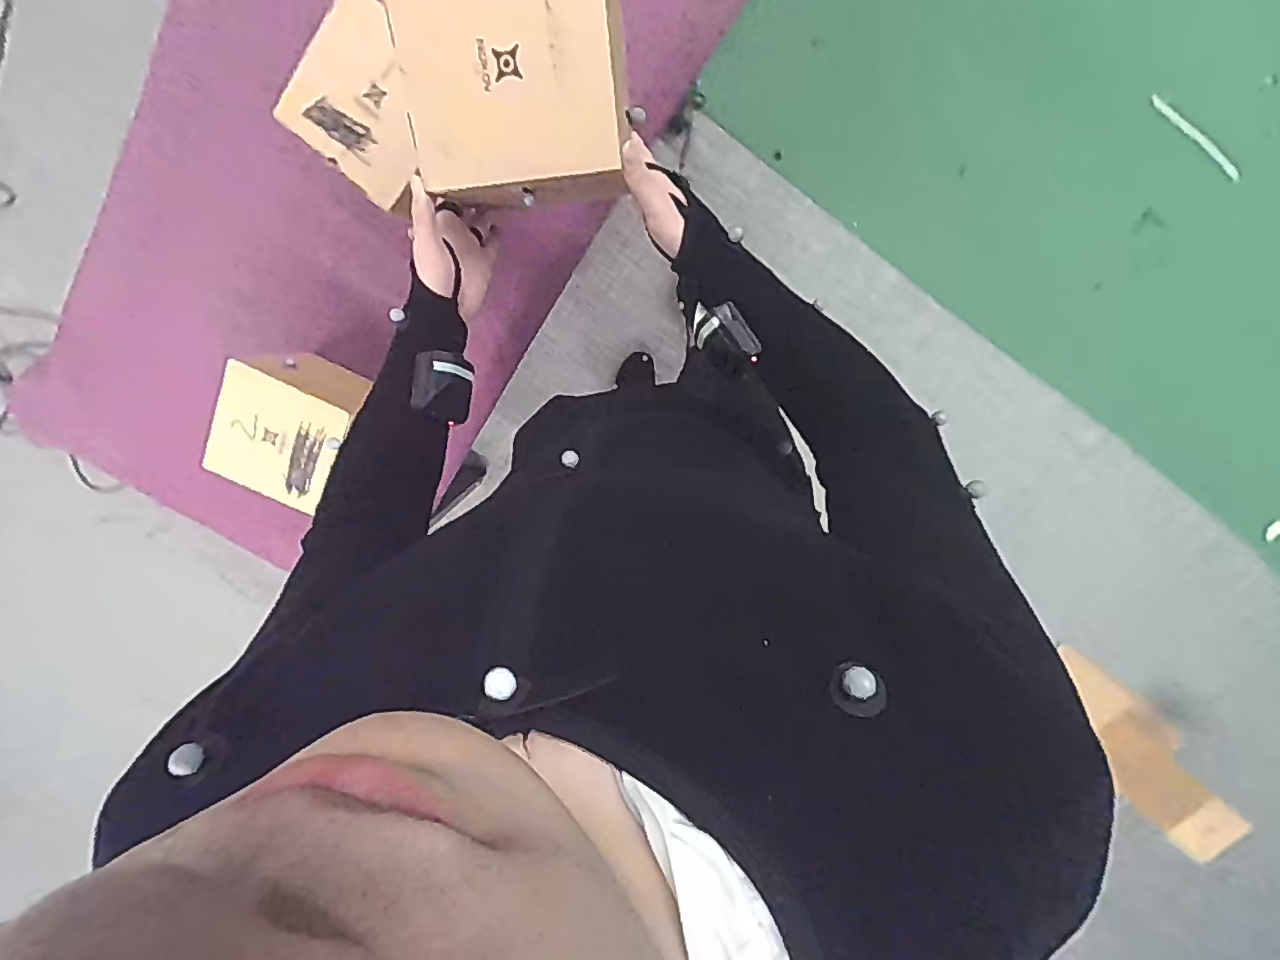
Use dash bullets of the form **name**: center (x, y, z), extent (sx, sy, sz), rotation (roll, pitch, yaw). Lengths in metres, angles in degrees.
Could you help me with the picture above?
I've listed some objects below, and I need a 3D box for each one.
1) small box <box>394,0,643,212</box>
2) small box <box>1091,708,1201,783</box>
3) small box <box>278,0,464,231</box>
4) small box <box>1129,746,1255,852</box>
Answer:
- **small box**: center (-0.095, -0.353, 0.504), extent (0.179, 0.176, 0.168), rotation (-2, 112, 6)
- **small box**: center (1.630, 0.891, 1.761), extent (0.168, 0.176, 0.179), rotation (36, 104, -9)
- **small box**: center (-0.305, -0.455, 0.700), extent (0.168, 0.176, 0.179), rotation (40, 102, -9)
- **small box**: center (1.621, 0.942, 1.607), extent (0.168, 0.176, 0.179), rotation (36, 104, -7)
